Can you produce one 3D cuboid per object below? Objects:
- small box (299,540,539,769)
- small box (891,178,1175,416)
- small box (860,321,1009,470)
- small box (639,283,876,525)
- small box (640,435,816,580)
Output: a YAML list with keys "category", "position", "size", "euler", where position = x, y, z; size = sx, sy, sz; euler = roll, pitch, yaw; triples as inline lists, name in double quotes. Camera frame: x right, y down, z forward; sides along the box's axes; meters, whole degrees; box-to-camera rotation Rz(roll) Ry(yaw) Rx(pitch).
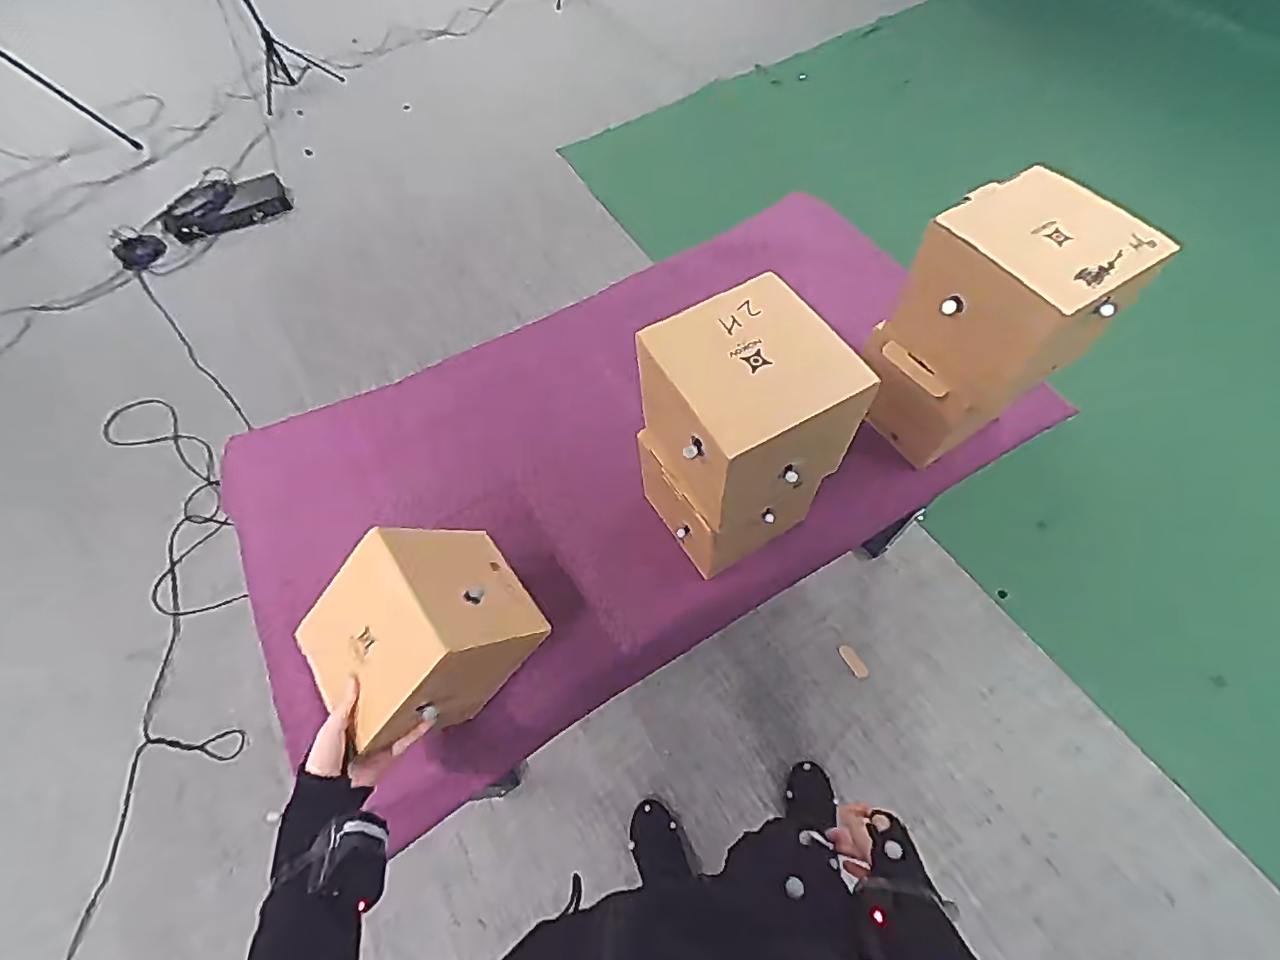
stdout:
- category: "small box"
  position: [-0.244, 0.183, 0.626]
  size: [0.179, 0.176, 0.168]
  euler: [-50, 65, 16]
- category: "small box"
  position: [0.435, -0.210, 0.639]
  size: [0.168, 0.176, 0.179]
  euler: [-29, 62, -10]
- category: "small box"
  position: [0.440, -0.144, 0.791]
  size: [0.179, 0.176, 0.168]
  euler: [-31, 64, -12]
- category: "small box"
  position: [0.115, -0.071, 0.591]
  size: [0.168, 0.176, 0.179]
  euler: [-26, 62, -10]
- category: "small box"
  position: [0.120, 0.009, 0.734]
  size: [0.179, 0.176, 0.168]
  euler: [-29, 62, -11]
